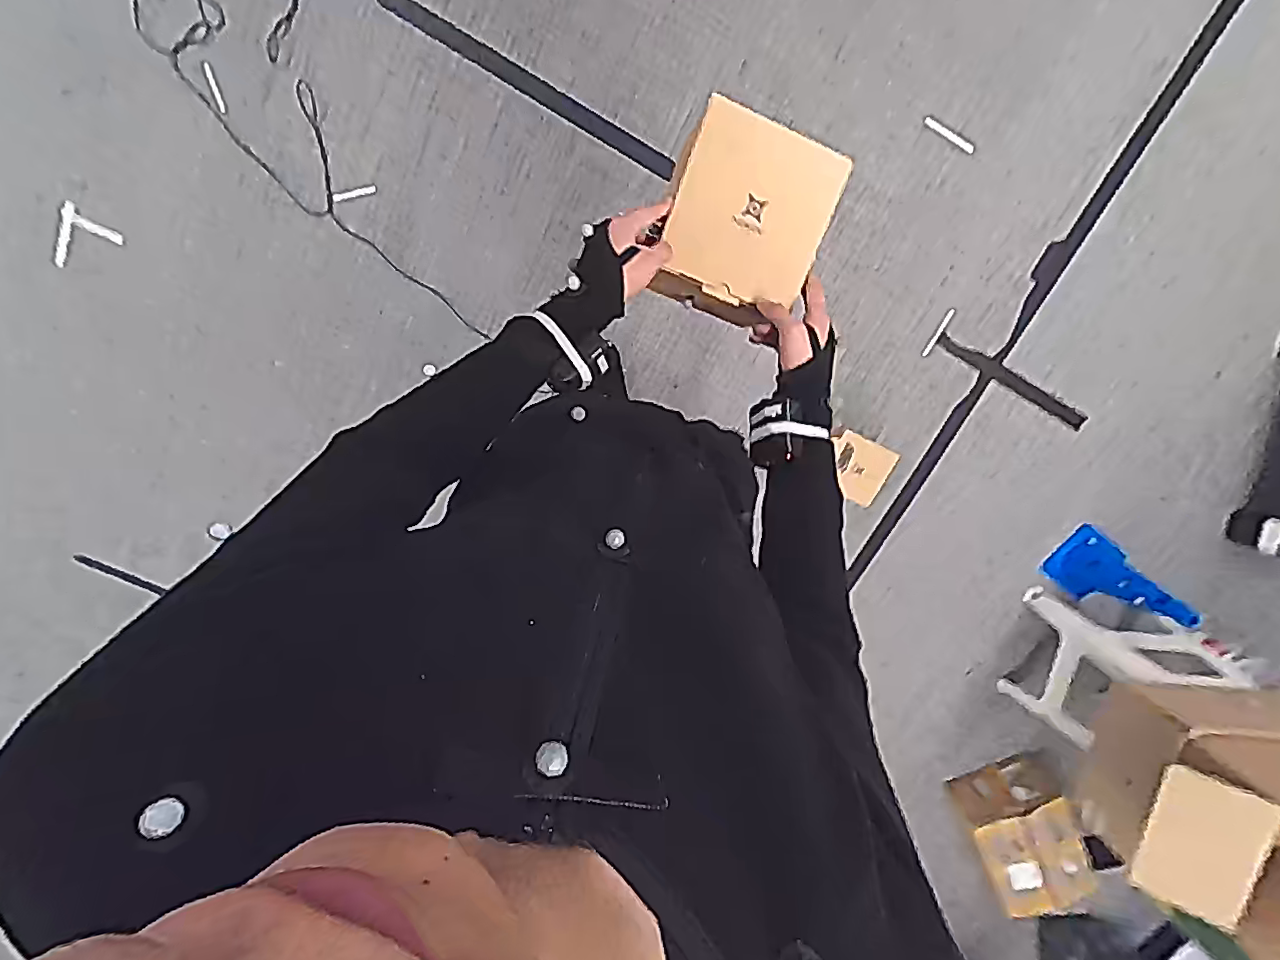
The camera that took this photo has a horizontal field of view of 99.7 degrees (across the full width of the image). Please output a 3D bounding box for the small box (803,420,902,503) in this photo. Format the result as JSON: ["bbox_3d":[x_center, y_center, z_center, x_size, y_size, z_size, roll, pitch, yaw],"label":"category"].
[{"bbox_3d":[0.591,-0.060,1.533,0.179,0.176,0.168,25,104,-7],"label":"small box"}]

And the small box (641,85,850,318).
[{"bbox_3d":[0.108,-0.307,0.643,0.168,0.176,0.179,19,101,-10],"label":"small box"}]
